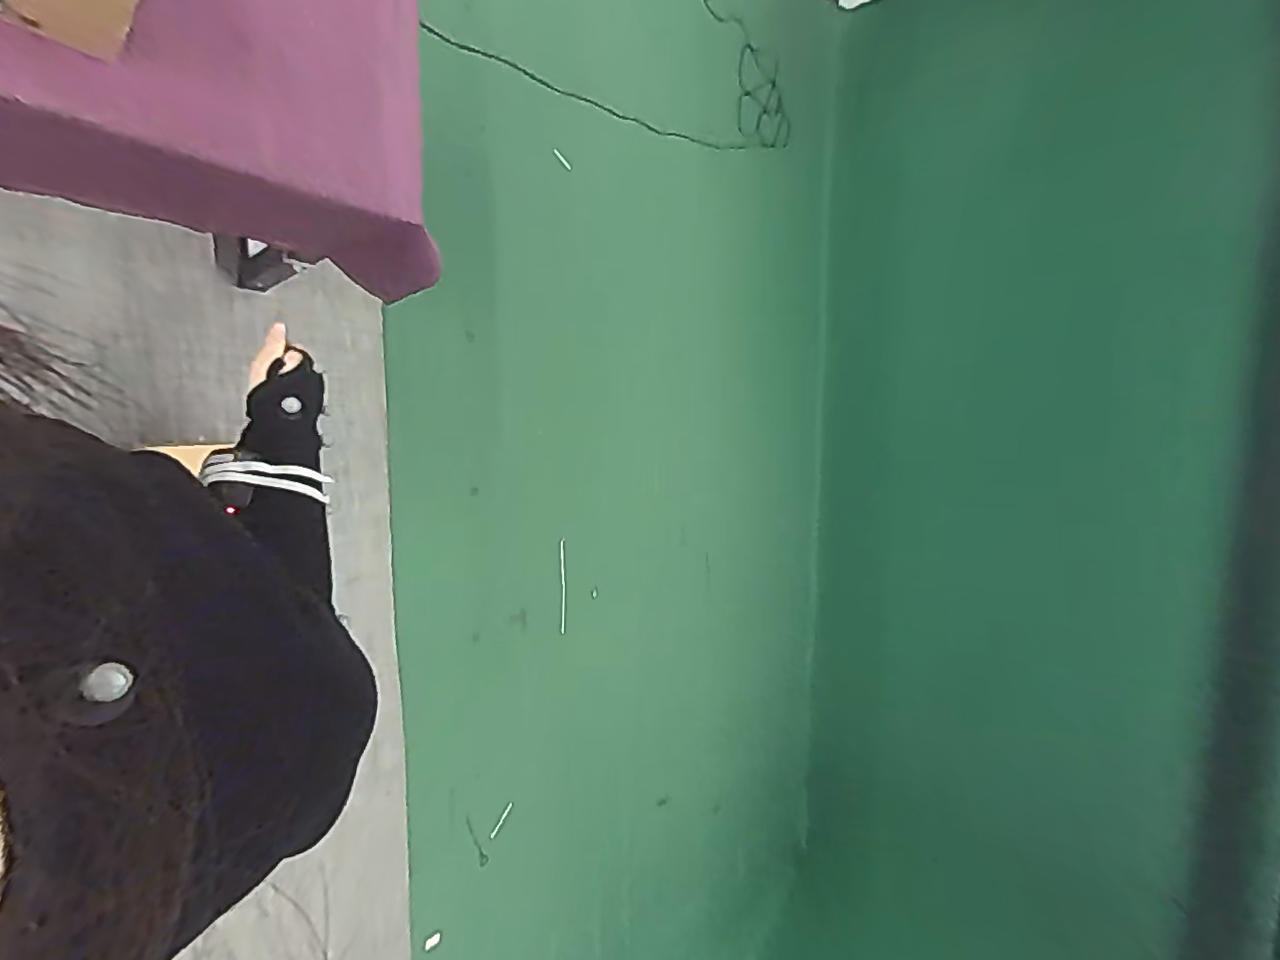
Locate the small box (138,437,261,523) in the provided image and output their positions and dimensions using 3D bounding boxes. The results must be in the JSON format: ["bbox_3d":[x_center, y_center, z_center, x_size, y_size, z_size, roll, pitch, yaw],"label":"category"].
[{"bbox_3d":[-0.953,-0.007,1.167,0.179,0.176,0.168,-10,101,-50],"label":"small box"}]
